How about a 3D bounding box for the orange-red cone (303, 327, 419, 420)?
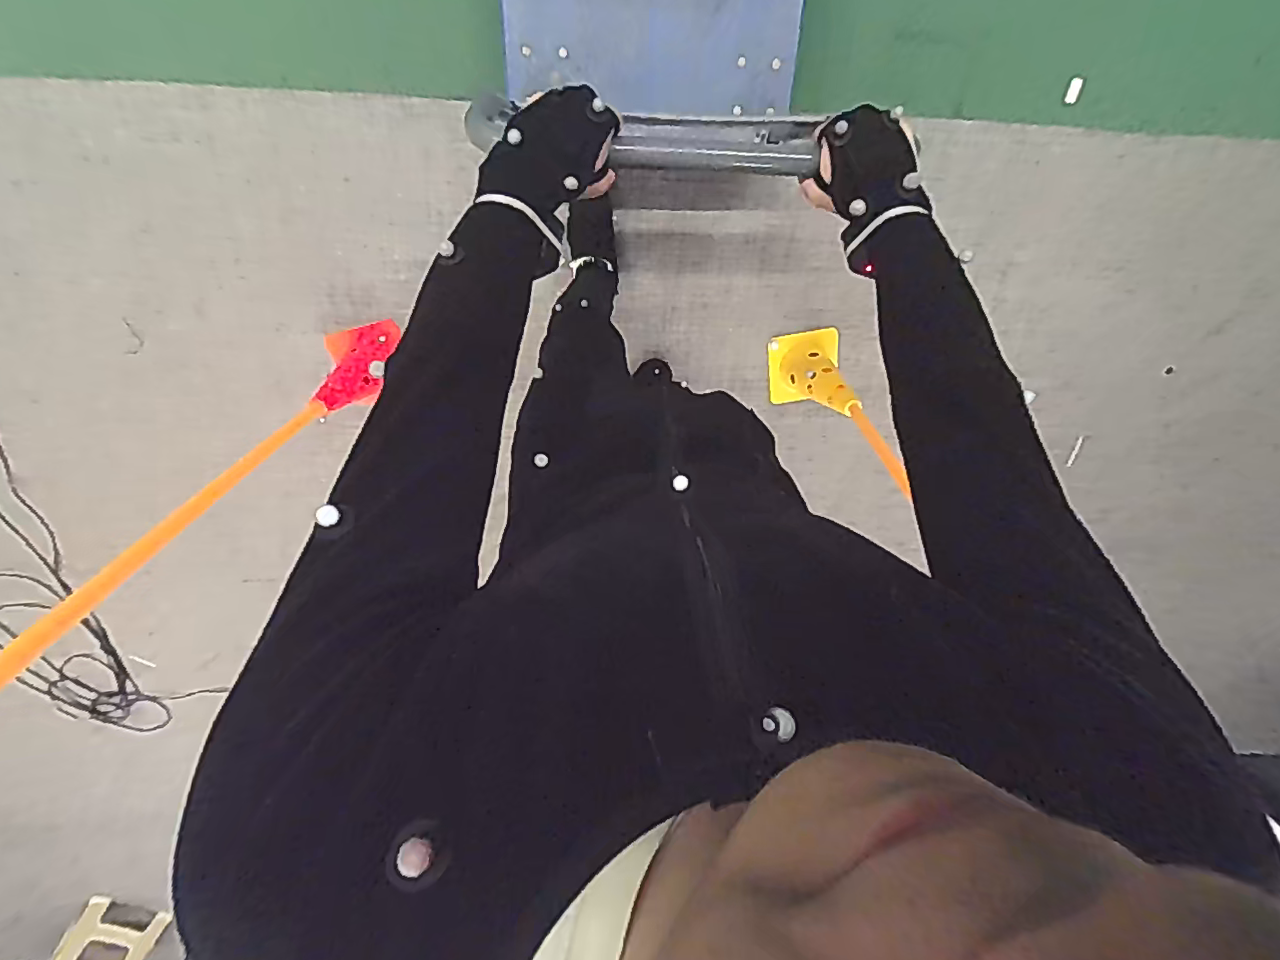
[{"bbox_3d":[-0.707,-0.222,1.300,0.199,0.360,0.198,-13,117,3],"label":"orange-red cone"}]
